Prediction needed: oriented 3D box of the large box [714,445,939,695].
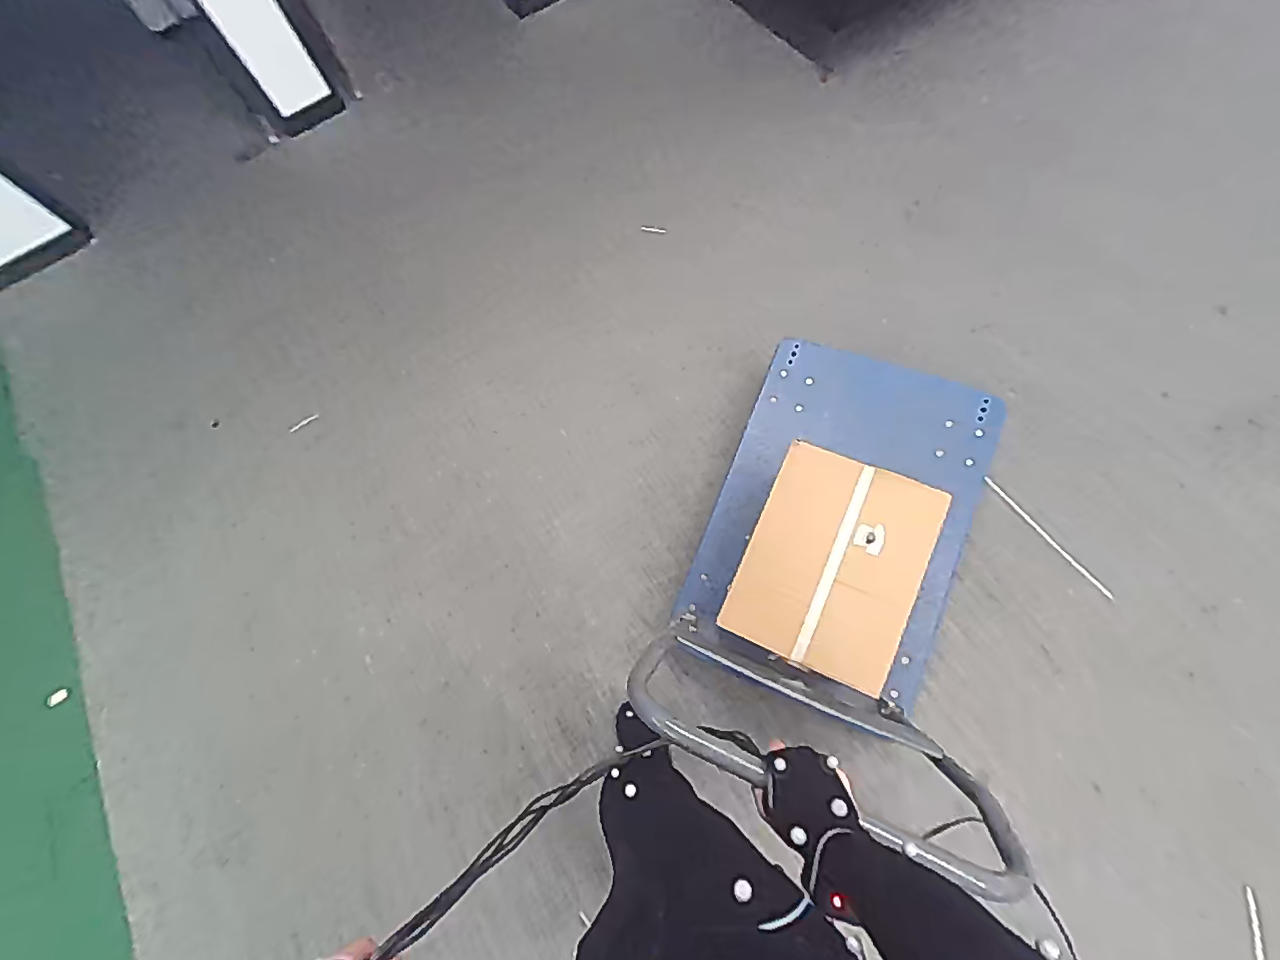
[{"bbox_3d":[0.383,0.197,1.182,0.320,0.320,0.408,23,80,14],"label":"large box"}]
